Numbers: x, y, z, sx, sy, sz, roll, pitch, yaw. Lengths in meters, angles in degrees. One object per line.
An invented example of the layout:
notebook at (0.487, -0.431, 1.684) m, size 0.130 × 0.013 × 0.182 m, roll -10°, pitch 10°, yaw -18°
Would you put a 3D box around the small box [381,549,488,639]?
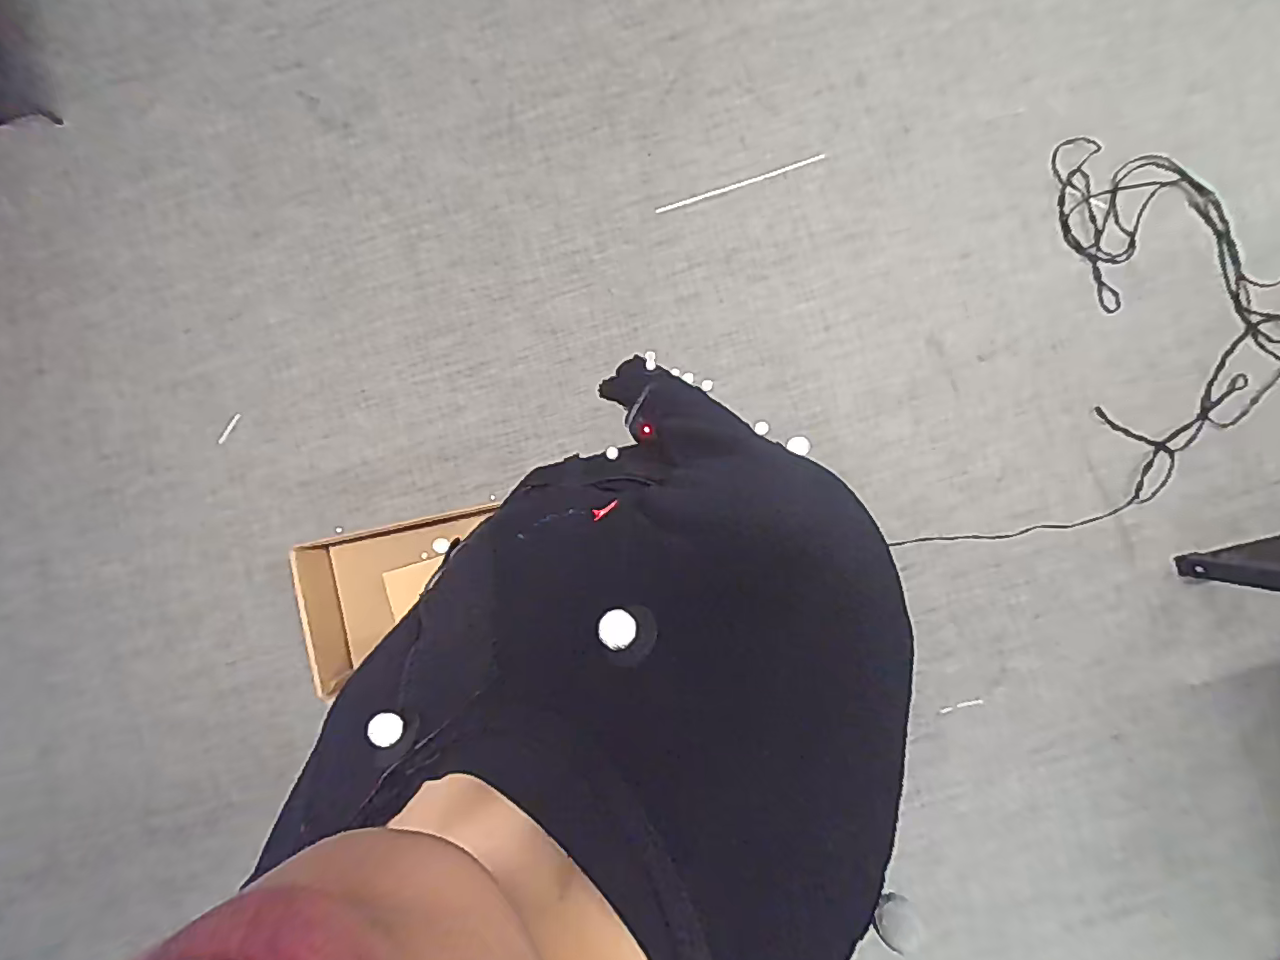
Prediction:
small box at (-0.507, 0.279, 1.354) m, size 0.179 × 0.176 × 0.168 m, roll -17°, pitch 89°, yaw 1°
